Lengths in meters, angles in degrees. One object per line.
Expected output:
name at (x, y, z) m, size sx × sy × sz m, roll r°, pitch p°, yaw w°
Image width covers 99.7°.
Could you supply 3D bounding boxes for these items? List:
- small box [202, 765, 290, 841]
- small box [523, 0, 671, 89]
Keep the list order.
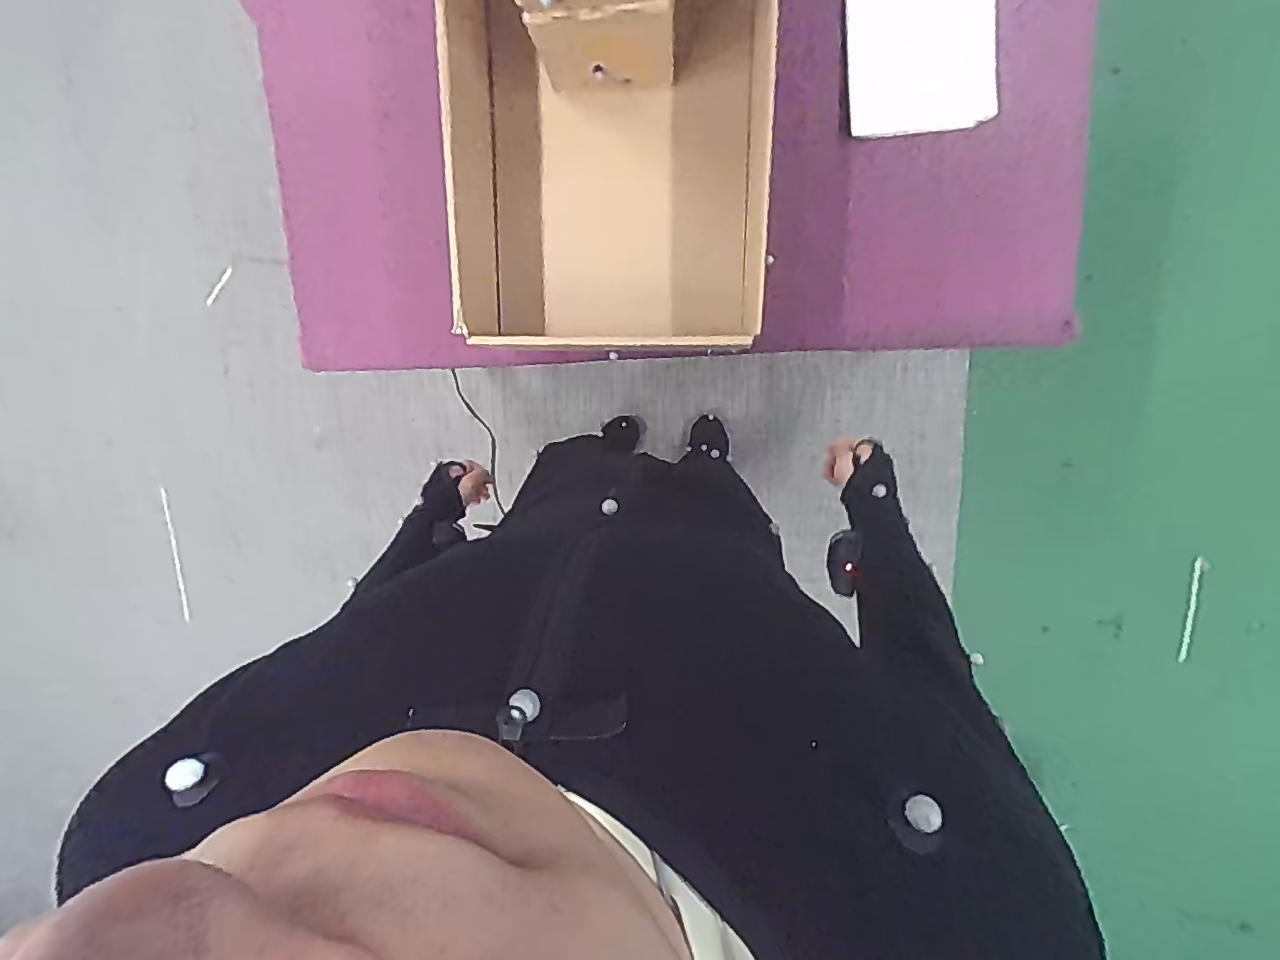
small box at (-1.357, 1.117, 1.880) m, size 0.179 × 0.176 × 0.168 m, roll -5°, pitch 99°, yaw 6°
small box at (-0.047, -0.622, 0.660) m, size 0.168 × 0.176 × 0.179 m, roll -2°, pitch 102°, yaw 5°
